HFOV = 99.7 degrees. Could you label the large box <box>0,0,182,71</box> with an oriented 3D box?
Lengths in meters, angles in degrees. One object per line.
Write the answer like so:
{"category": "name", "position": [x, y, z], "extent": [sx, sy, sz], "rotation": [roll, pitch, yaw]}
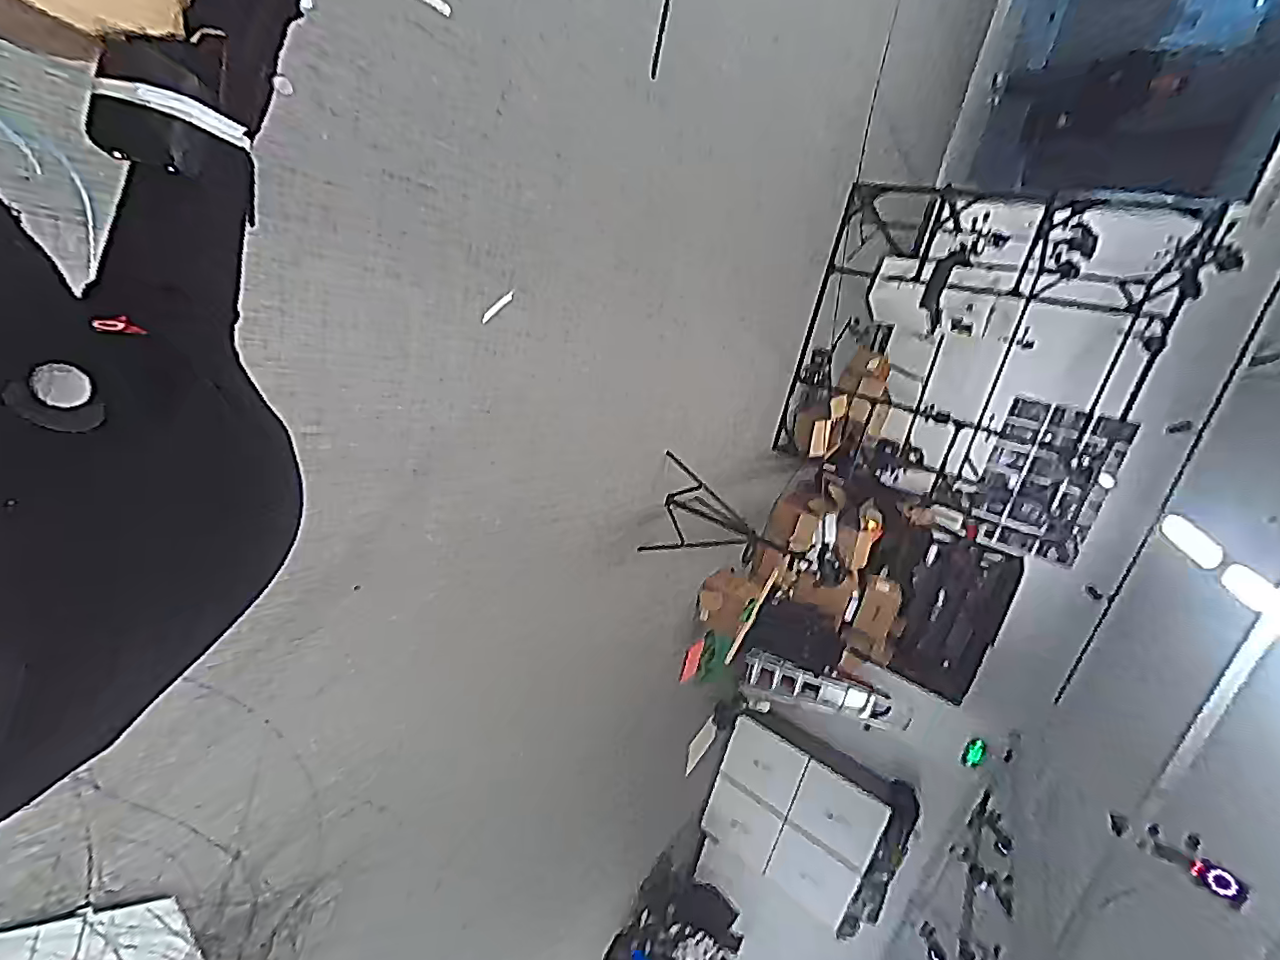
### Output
{"category": "large box", "position": [-0.489, -0.467, 0.229], "extent": [0.408, 0.320, 0.320], "rotation": [-4, 118, -61]}
